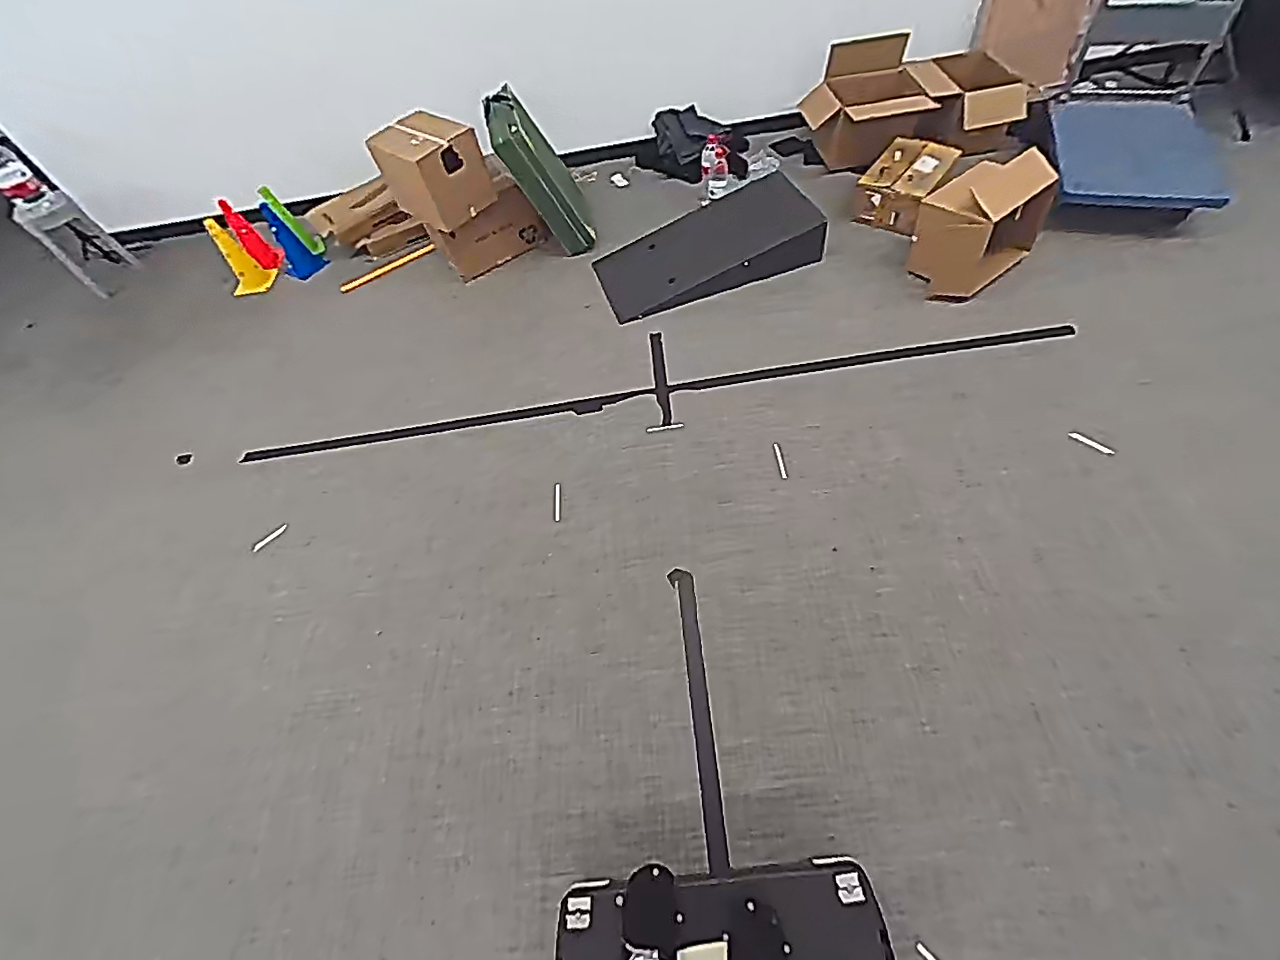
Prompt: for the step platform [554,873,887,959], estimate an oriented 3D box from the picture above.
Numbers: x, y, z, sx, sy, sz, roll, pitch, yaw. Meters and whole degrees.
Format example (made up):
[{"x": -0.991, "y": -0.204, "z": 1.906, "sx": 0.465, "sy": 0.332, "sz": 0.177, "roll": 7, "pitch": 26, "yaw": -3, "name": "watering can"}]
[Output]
[{"x": 0.161, "y": 1.027, "z": 1.122, "sx": 0.684, "sy": 0.204, "sz": 0.286, "roll": -8, "pitch": 56, "yaw": 2, "name": "step platform"}]
